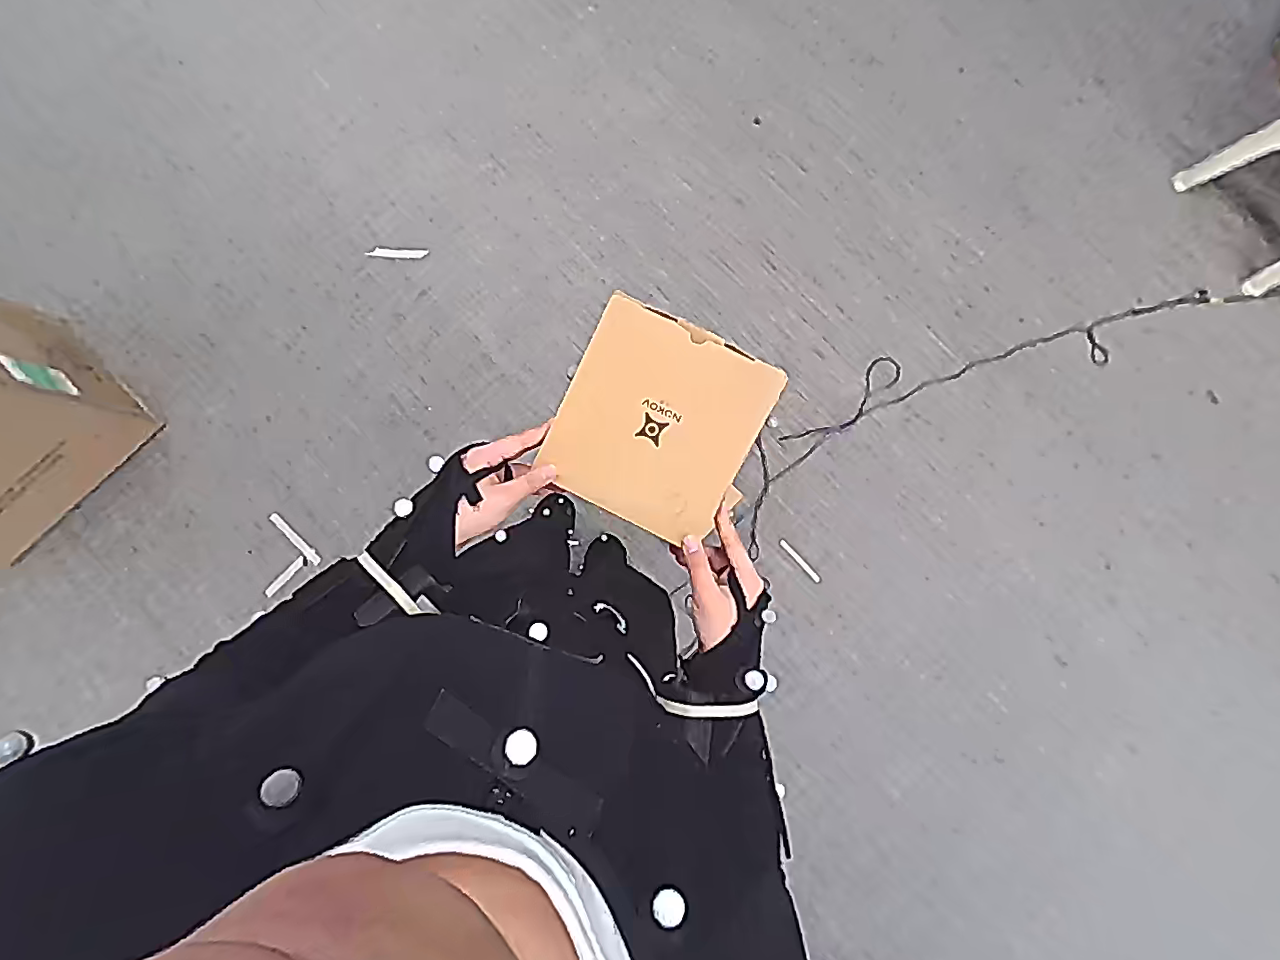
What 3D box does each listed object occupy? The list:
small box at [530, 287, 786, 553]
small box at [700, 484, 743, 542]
[{"bbox_3d":[0.020,-0.056,0.533,0.168,0.176,0.179,26,97,2],"label":"small box"},{"bbox_3d":[0.114,0.048,1.289,0.168,0.176,0.179,44,86,4],"label":"small box"}]
